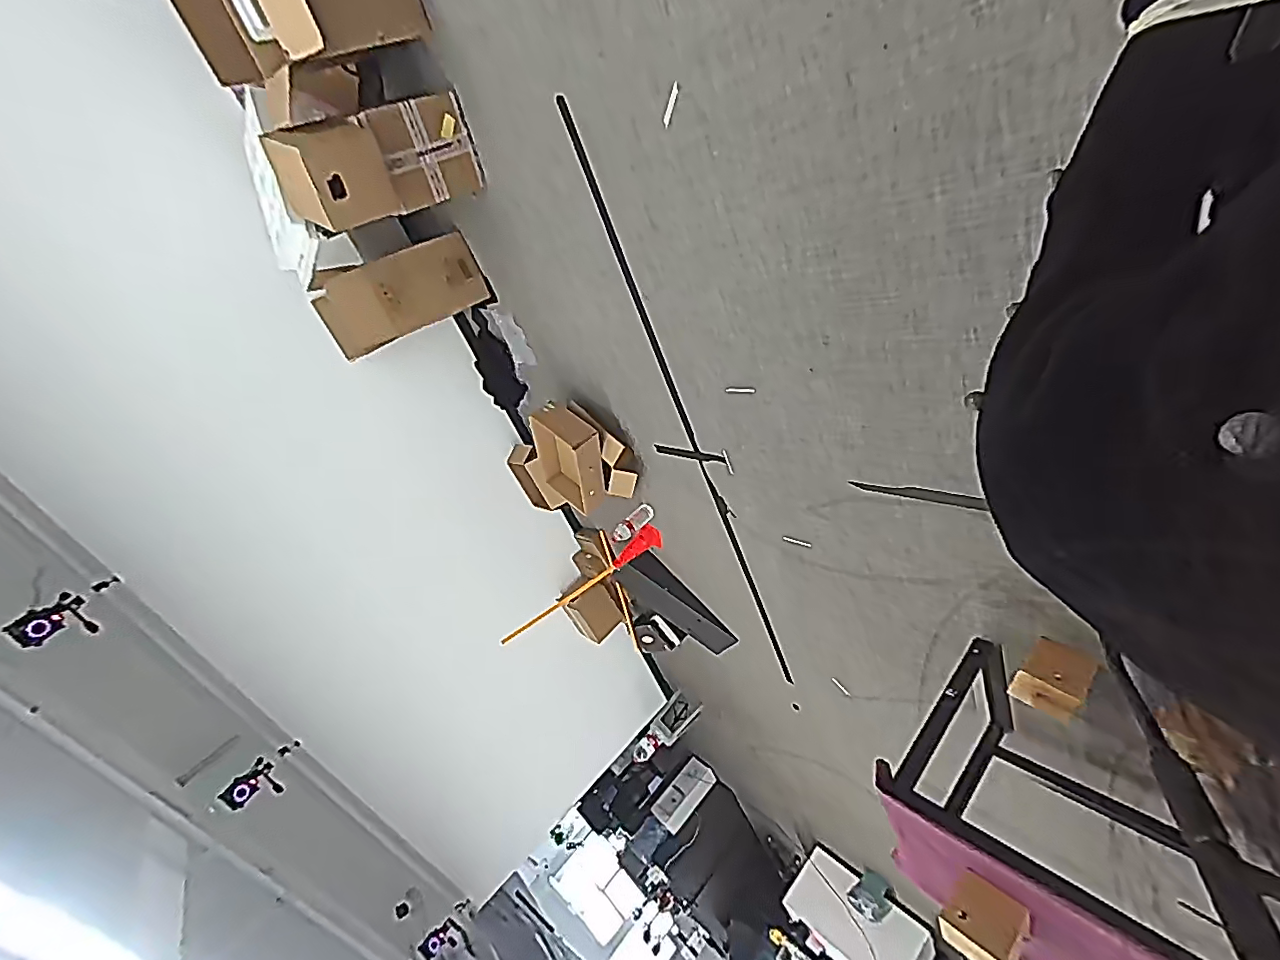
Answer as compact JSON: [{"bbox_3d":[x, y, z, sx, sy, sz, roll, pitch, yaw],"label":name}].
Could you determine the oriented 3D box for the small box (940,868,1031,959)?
[{"bbox_3d":[1.012,1.283,1.582,0.179,0.176,0.168,15,138,49],"label":"small box"}]

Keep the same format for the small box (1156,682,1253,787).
[{"bbox_3d":[1.620,0.724,1.554,0.168,0.176,0.179,12,134,51],"label":"small box"}]

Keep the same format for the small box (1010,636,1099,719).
[{"bbox_3d":[1.397,0.657,1.825,0.179,0.176,0.168,27,145,37],"label":"small box"}]
